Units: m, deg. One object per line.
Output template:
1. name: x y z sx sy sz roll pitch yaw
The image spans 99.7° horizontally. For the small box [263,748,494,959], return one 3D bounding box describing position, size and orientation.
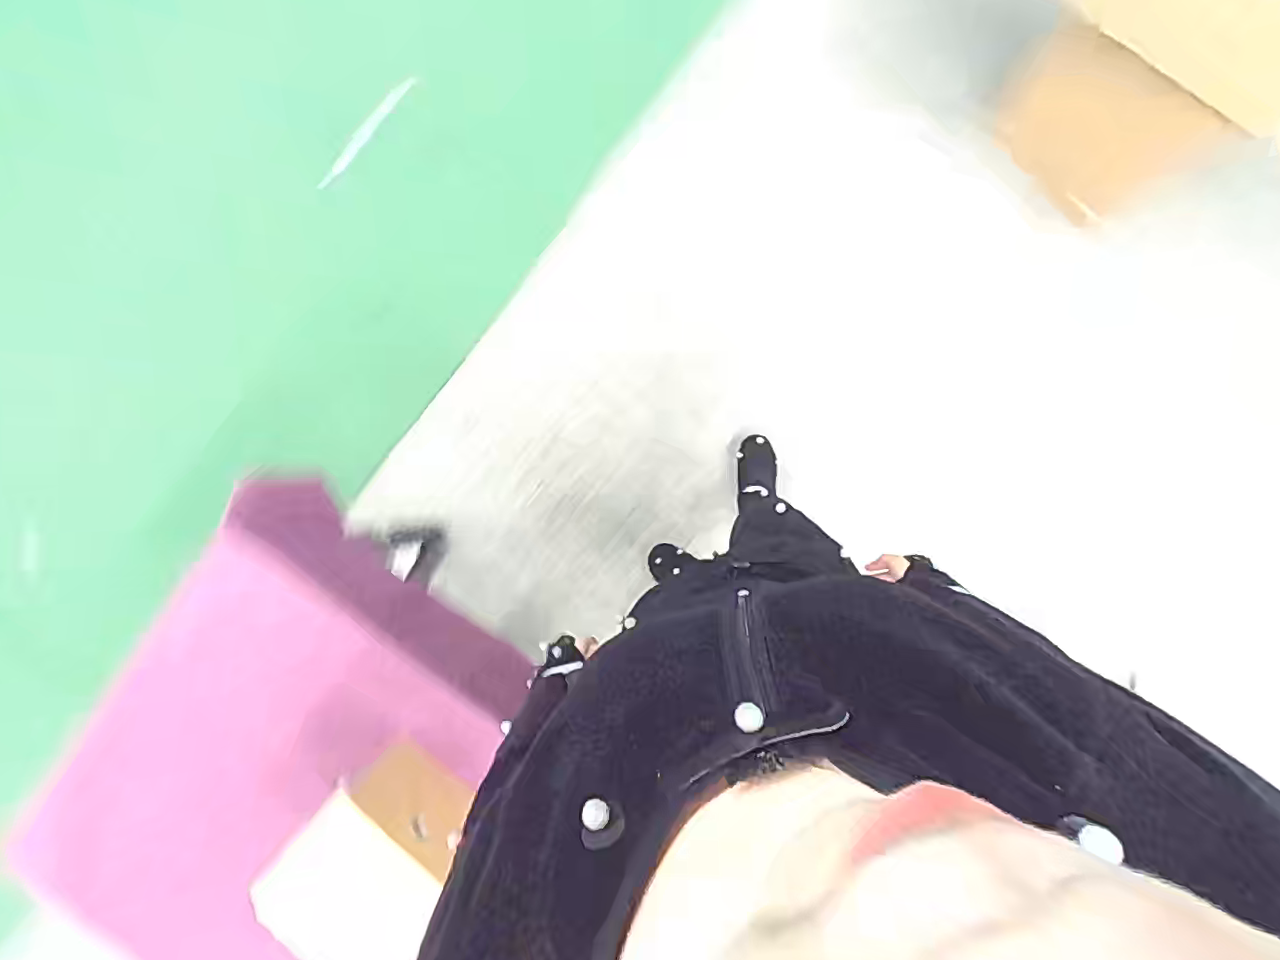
1. small box: -0.322 0.494 0.707 0.179 0.176 0.168 39 90 4
